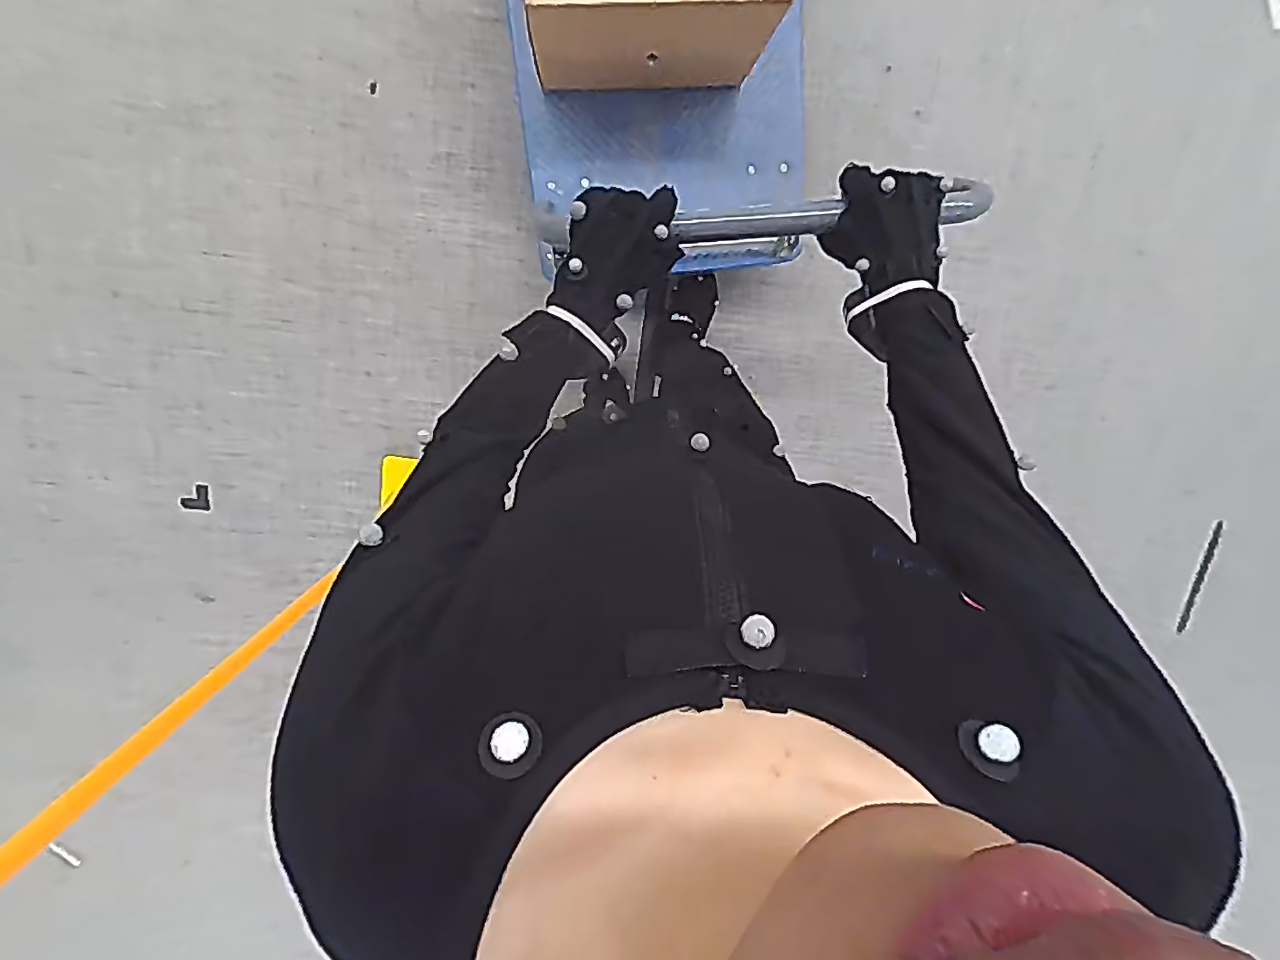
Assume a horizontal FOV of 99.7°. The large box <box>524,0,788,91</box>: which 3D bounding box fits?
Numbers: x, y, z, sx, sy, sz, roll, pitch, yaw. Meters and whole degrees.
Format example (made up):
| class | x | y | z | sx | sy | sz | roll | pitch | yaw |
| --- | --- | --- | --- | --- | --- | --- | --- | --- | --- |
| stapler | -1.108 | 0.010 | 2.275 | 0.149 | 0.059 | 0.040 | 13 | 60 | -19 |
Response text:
| class | x | y | z | sx | sy | sz | roll | pitch | yaw |
| --- | --- | --- | --- | --- | --- | --- | --- | --- | --- |
| large box | 0.009 | -0.889 | 0.902 | 0.408 | 0.320 | 0.320 | -4 | 106 | -3 |
